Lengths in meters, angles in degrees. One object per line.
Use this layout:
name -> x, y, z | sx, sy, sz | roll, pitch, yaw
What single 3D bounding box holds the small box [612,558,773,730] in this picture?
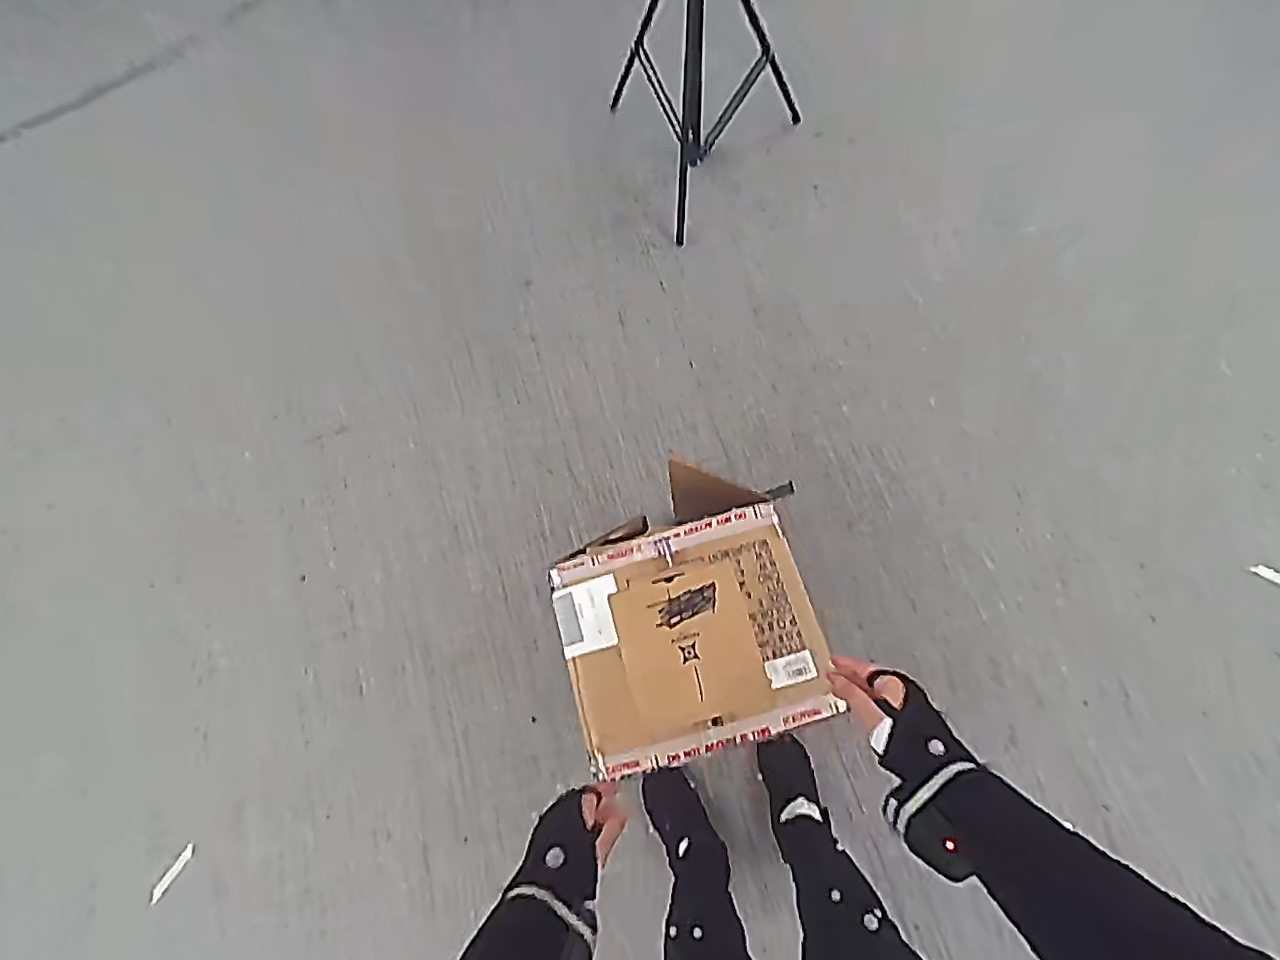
small box -> 0.066, 0.221, 0.747 | 0.168, 0.176, 0.179 | -16, 76, 1
